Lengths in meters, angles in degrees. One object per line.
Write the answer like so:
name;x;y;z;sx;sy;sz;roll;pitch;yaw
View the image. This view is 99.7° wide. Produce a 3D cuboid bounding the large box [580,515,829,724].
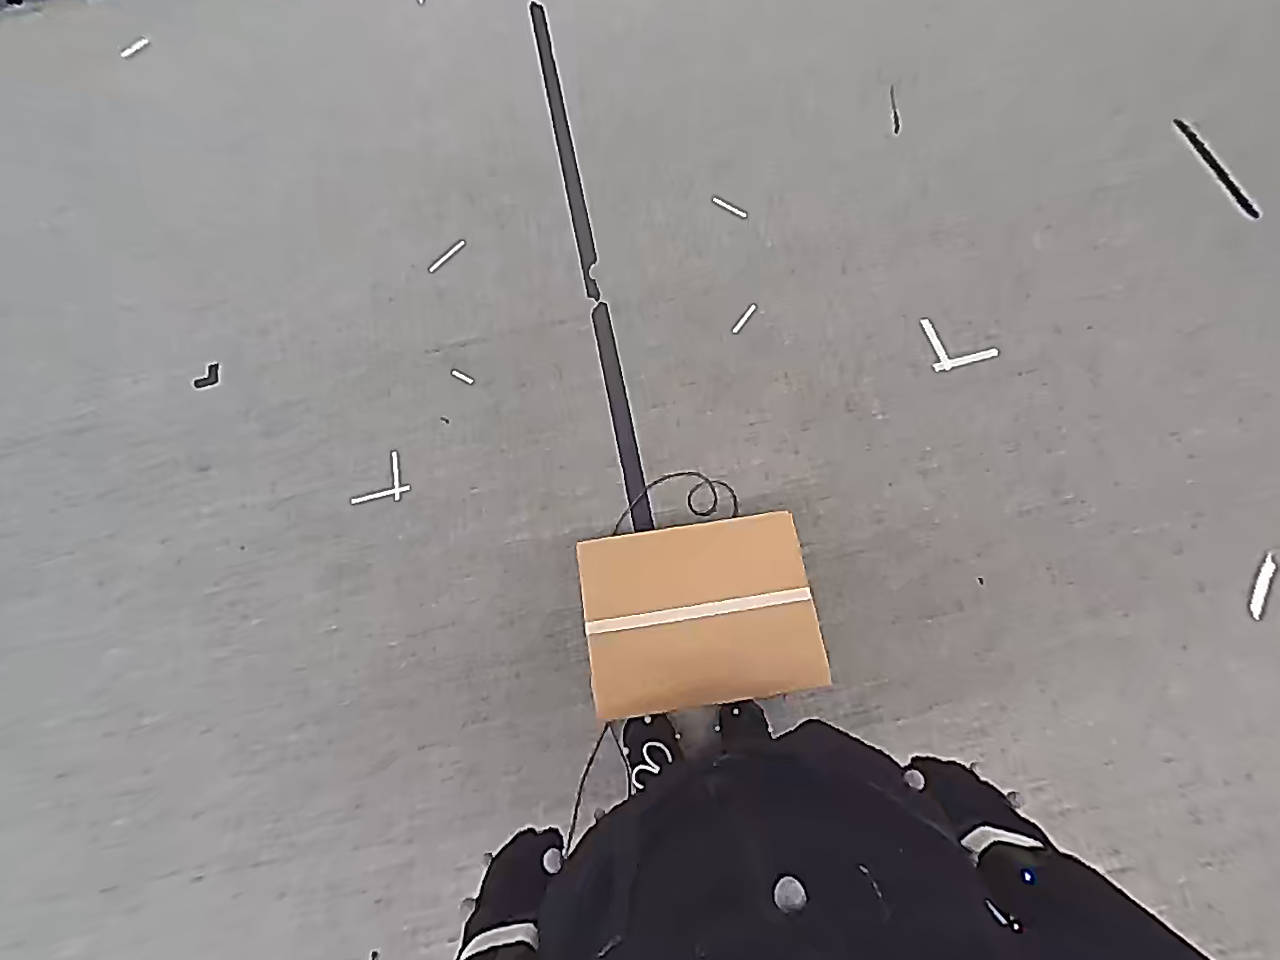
large box;0.111;0.284;1.102;0.408;0.320;0.320;-9;70;-1
